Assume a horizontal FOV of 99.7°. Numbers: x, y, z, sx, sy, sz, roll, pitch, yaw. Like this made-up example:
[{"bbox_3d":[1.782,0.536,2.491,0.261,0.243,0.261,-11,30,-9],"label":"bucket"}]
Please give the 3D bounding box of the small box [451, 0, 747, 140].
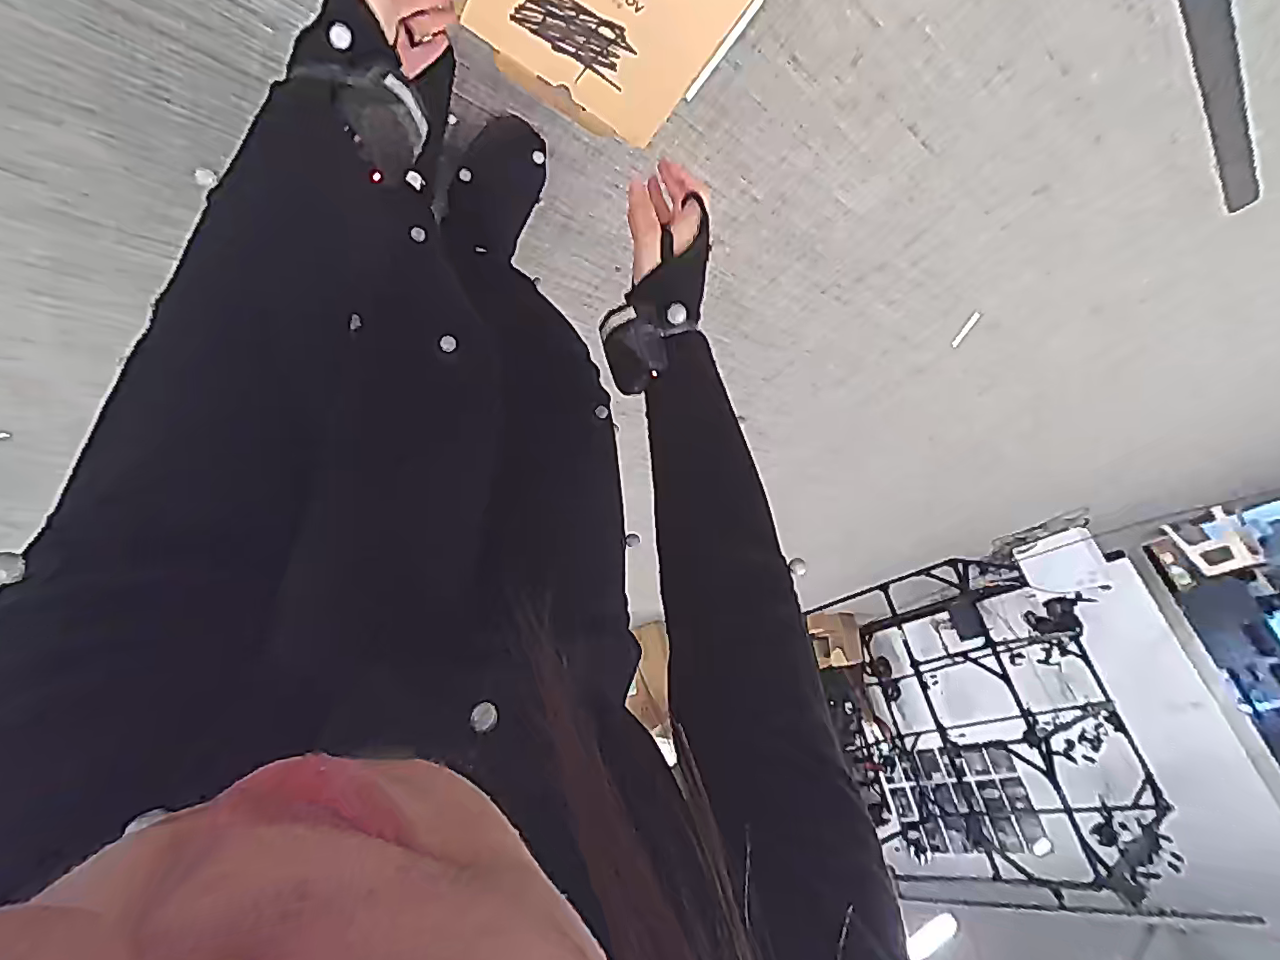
[{"bbox_3d":[-0.025,-0.405,0.384,0.168,0.176,0.179,10,145,-40],"label":"small box"}]
